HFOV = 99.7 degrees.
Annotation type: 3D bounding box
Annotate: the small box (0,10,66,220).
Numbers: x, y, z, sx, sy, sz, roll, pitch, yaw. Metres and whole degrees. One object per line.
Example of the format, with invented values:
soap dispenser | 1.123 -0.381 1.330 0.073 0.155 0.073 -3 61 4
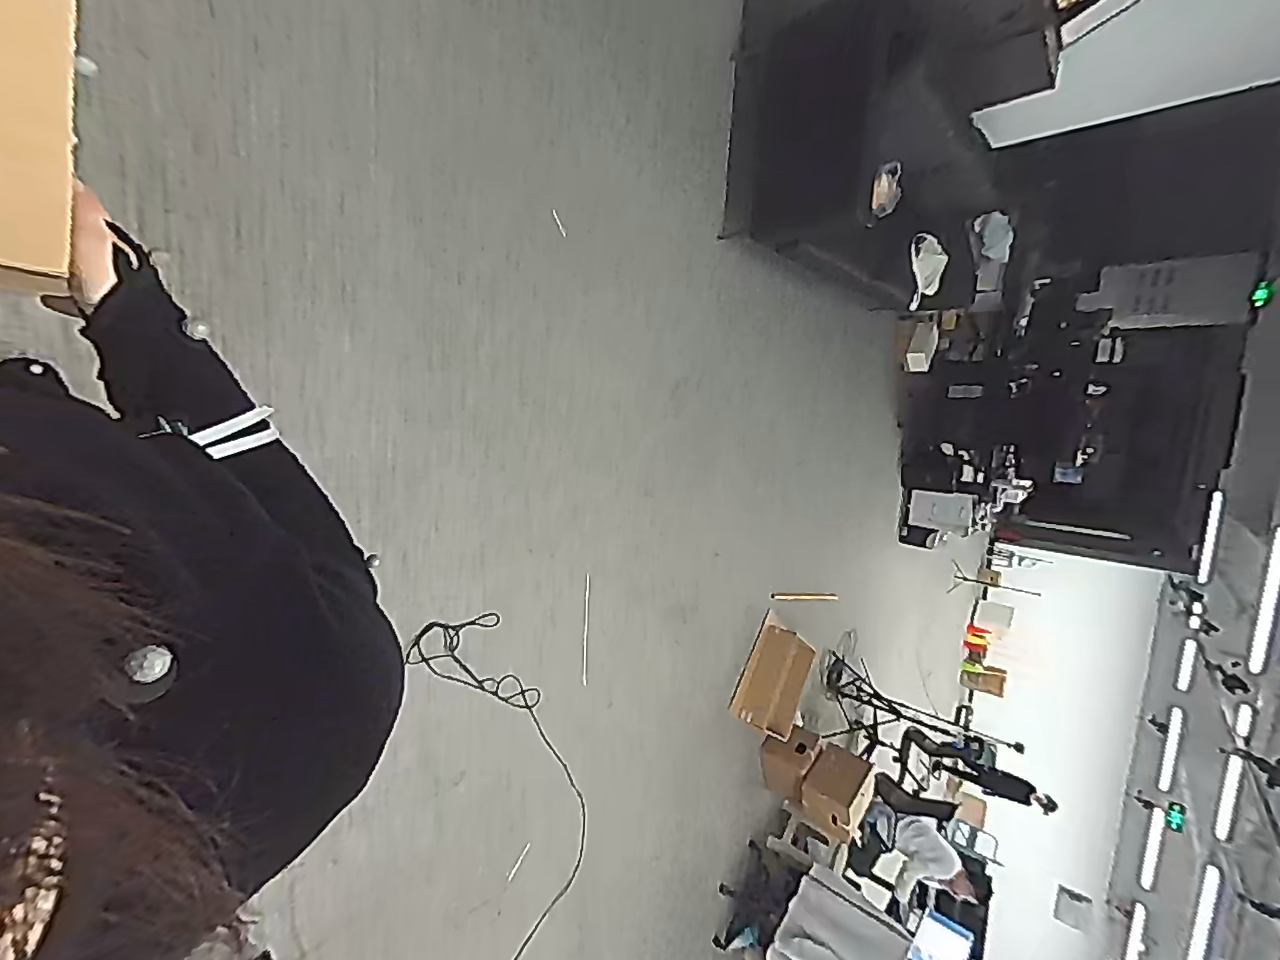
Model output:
small box | -0.753 -0.411 0.593 0.168 0.176 0.179 0 97 -48
